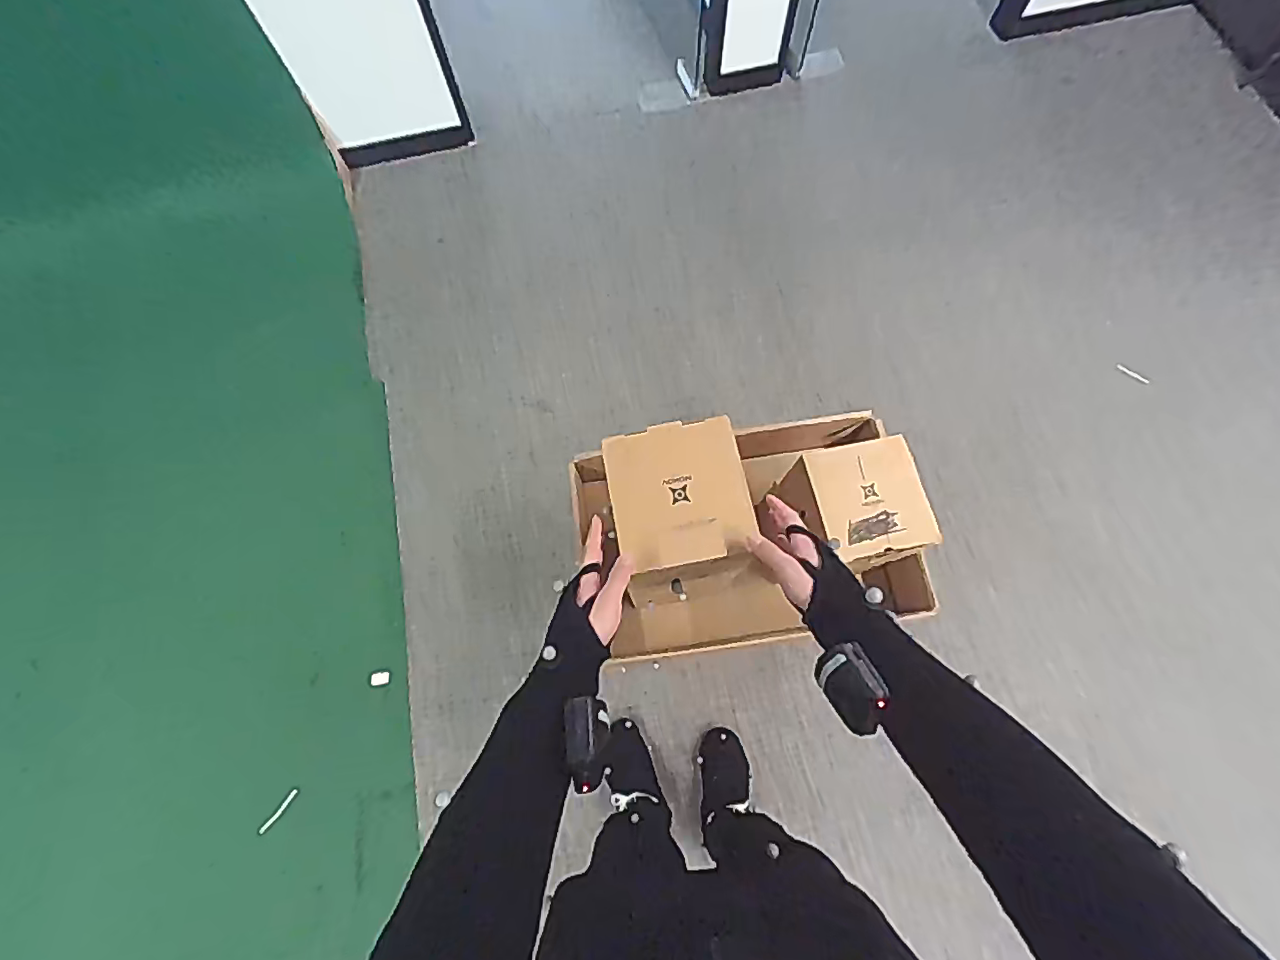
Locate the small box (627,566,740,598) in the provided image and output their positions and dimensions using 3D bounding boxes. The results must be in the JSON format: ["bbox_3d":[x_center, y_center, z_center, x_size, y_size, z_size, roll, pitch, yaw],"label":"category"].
[{"bbox_3d":[0.053,0.083,0.873,0.168,0.176,0.179,-10,72,-1],"label":"small box"}]

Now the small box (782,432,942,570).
[{"bbox_3d":[0.346,0.044,0.880,0.168,0.176,0.179,-11,72,-2],"label":"small box"}]

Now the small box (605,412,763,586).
[{"bbox_3d":[0.050,0.033,0.718,0.168,0.176,0.179,-10,72,-1],"label":"small box"}]
